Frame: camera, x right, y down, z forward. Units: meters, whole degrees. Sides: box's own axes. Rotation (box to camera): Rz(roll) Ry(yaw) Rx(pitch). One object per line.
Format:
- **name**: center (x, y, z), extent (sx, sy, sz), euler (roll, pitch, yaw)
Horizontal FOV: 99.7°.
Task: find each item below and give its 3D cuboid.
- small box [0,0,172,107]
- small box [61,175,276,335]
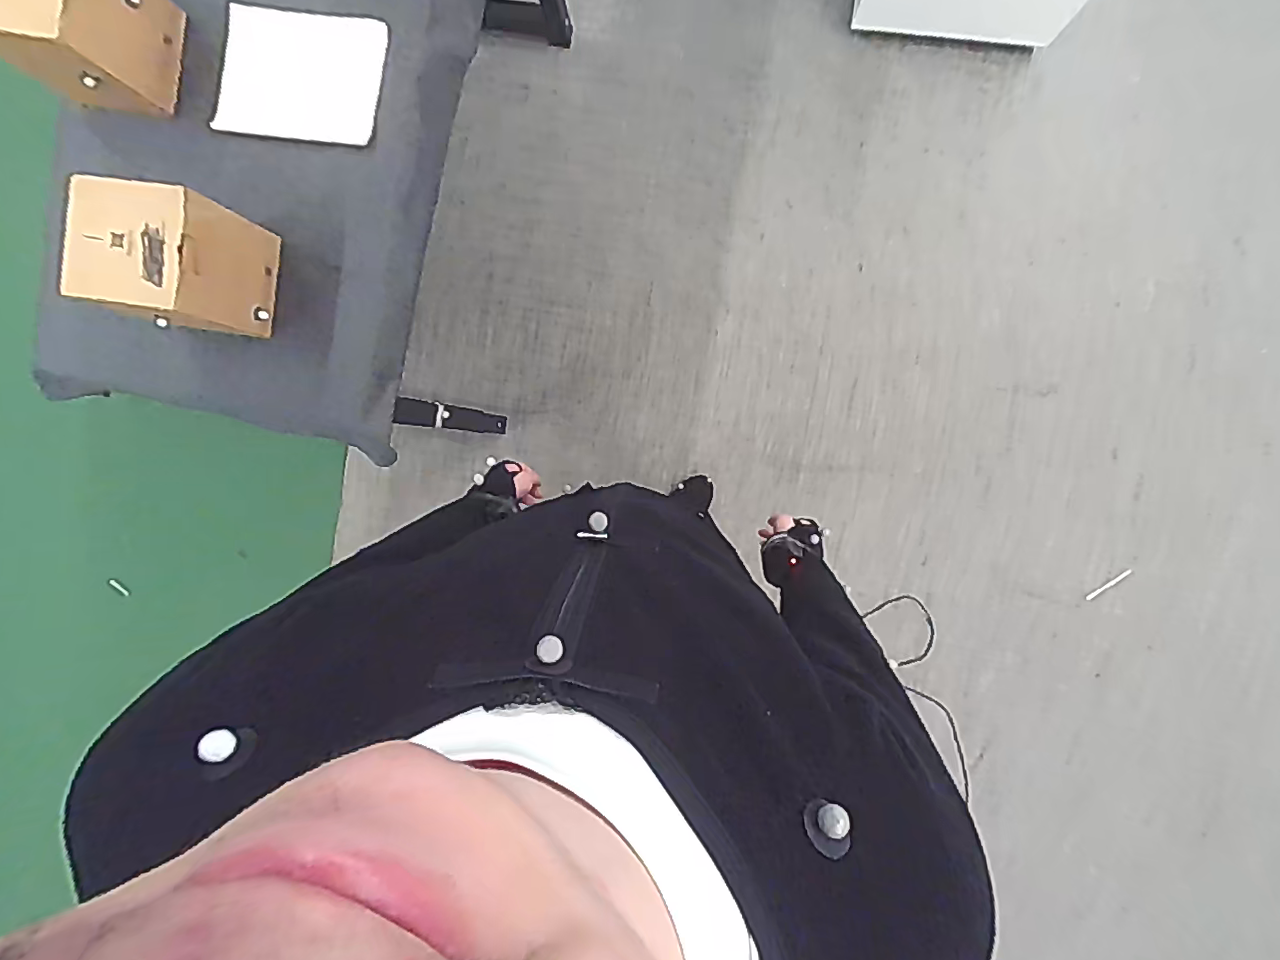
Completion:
- **small box**: center (-0.841, -0.683, 0.788), extent (0.179, 0.176, 0.168), euler (10, 92, 5)
- **small box**: center (-0.687, -0.322, 0.807), extent (0.179, 0.176, 0.168), euler (9, 92, 4)
